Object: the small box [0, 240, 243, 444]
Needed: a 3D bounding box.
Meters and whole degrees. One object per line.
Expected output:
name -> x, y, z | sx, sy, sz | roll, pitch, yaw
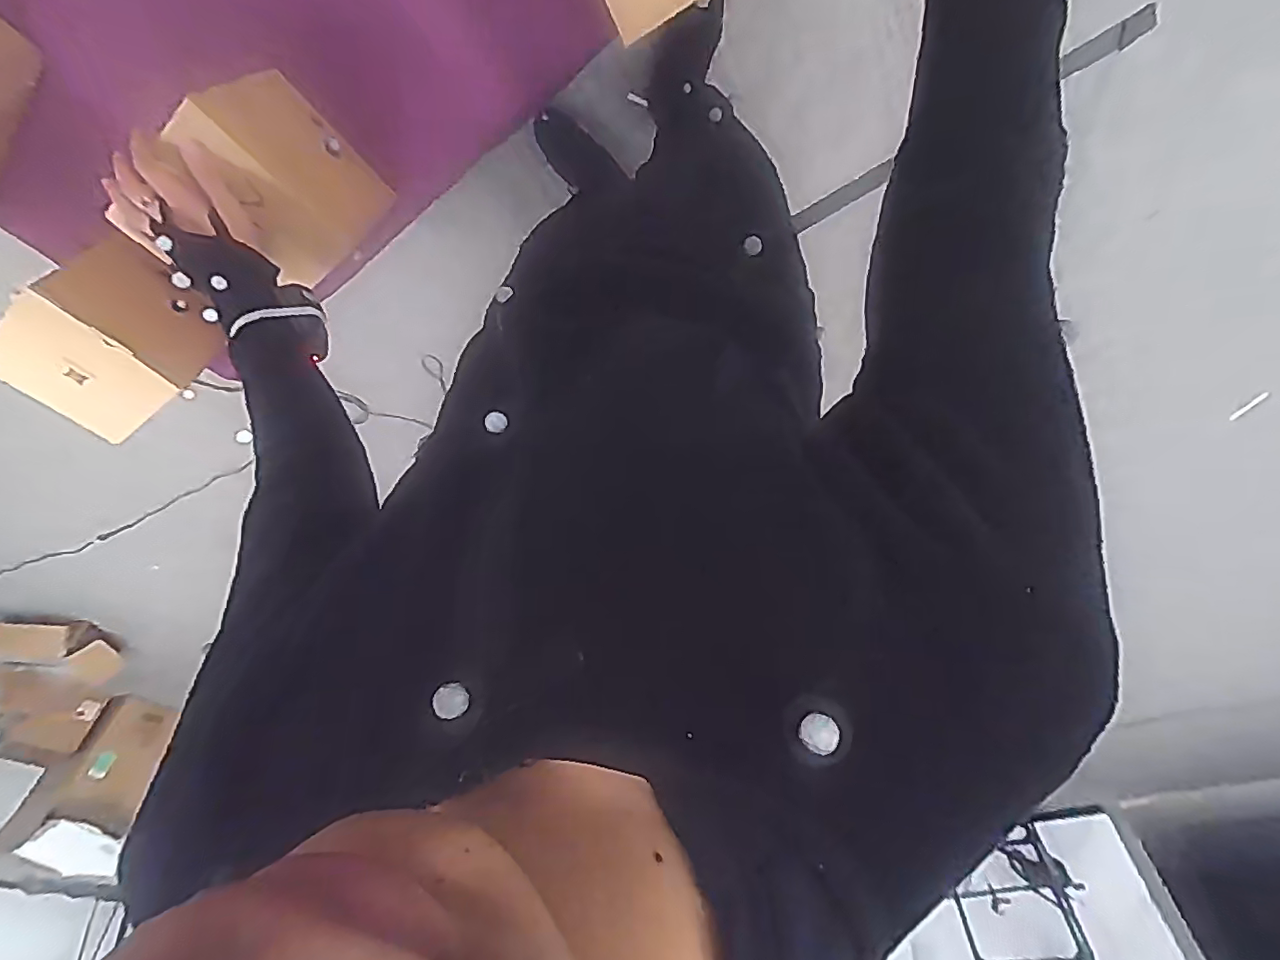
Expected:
small box -> -0.693, -0.186, 0.732 | 0.179, 0.176, 0.168 | -26, 129, 22
